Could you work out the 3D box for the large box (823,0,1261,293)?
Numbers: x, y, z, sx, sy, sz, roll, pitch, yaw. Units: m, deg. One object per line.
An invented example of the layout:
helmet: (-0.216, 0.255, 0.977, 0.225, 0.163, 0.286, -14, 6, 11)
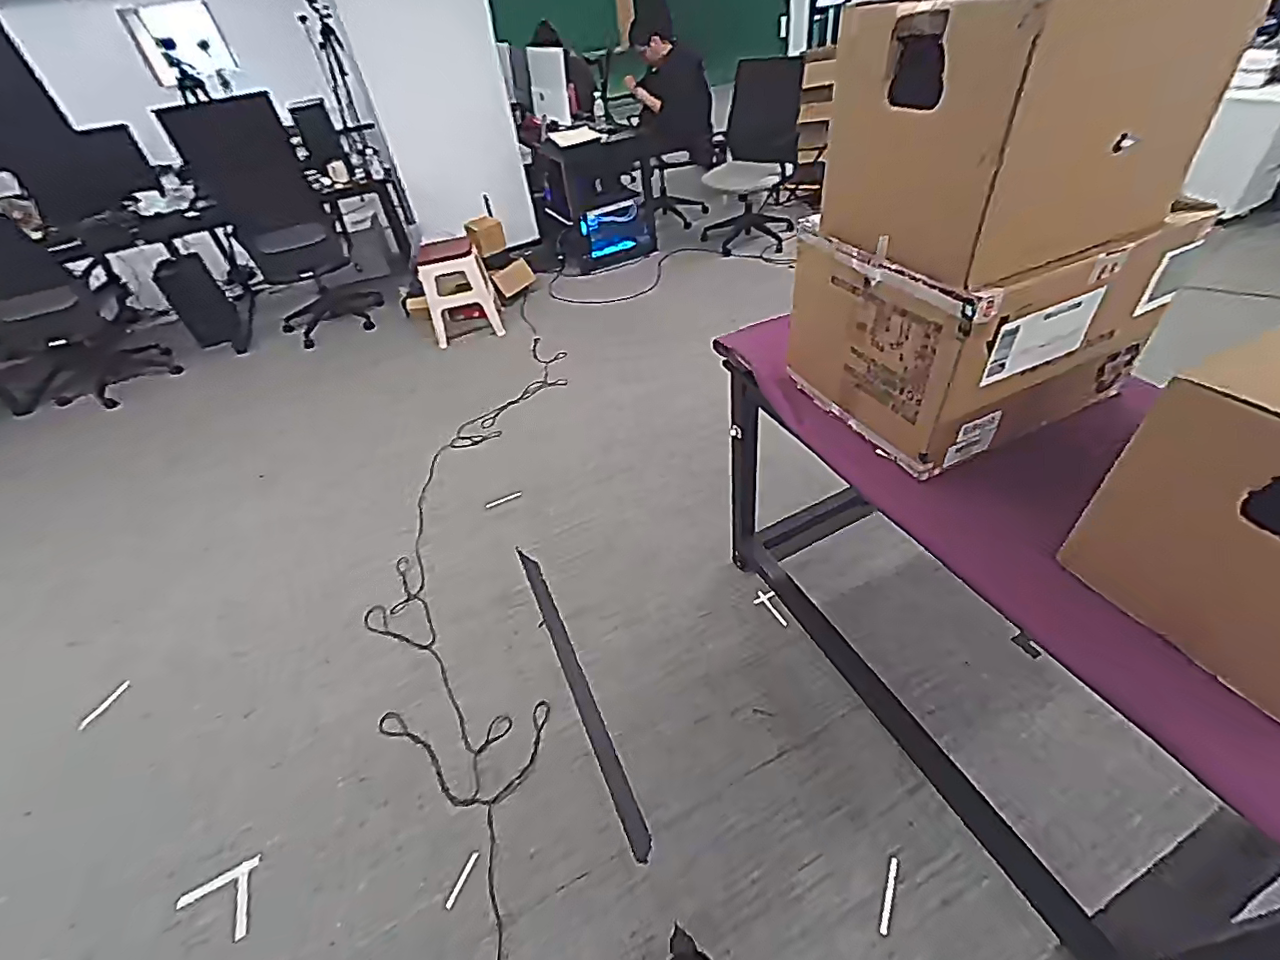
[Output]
large box: (0.536, -0.518, 0.784, 0.408, 0.320, 0.320, -23, 42, -14)
